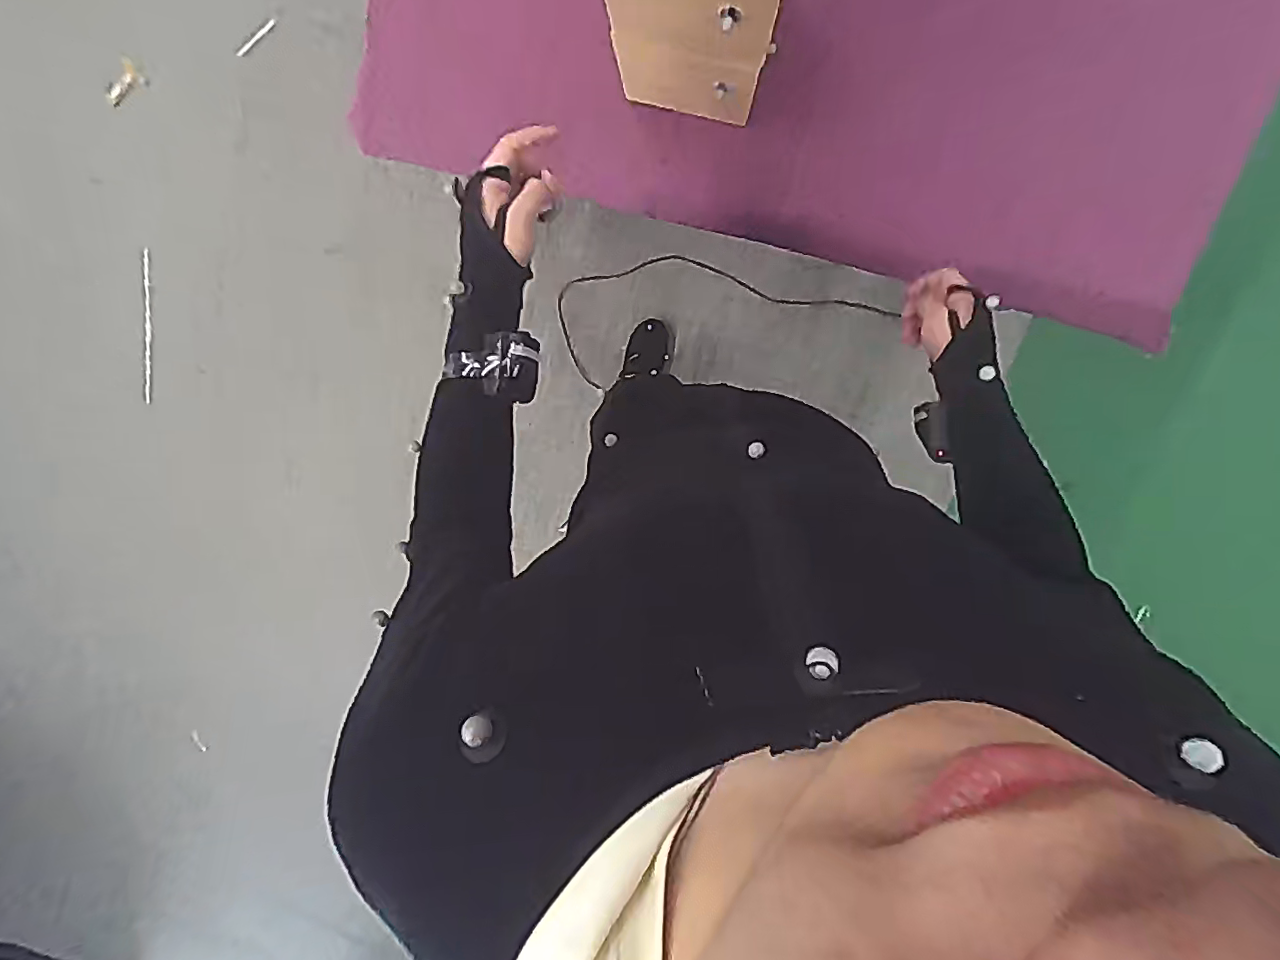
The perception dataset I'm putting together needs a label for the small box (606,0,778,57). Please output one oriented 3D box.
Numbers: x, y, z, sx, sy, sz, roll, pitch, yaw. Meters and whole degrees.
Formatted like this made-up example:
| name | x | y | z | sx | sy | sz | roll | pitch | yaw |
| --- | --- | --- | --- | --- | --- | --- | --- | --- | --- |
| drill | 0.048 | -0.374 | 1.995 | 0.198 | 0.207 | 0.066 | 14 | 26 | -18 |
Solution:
| name | x | y | z | sx | sy | sz | roll | pitch | yaw |
| --- | --- | --- | --- | --- | --- | --- | --- | --- | --- |
| small box | 0.063 | -0.539 | 0.506 | 0.179 | 0.176 | 0.168 | 14 | 105 | 2 |
